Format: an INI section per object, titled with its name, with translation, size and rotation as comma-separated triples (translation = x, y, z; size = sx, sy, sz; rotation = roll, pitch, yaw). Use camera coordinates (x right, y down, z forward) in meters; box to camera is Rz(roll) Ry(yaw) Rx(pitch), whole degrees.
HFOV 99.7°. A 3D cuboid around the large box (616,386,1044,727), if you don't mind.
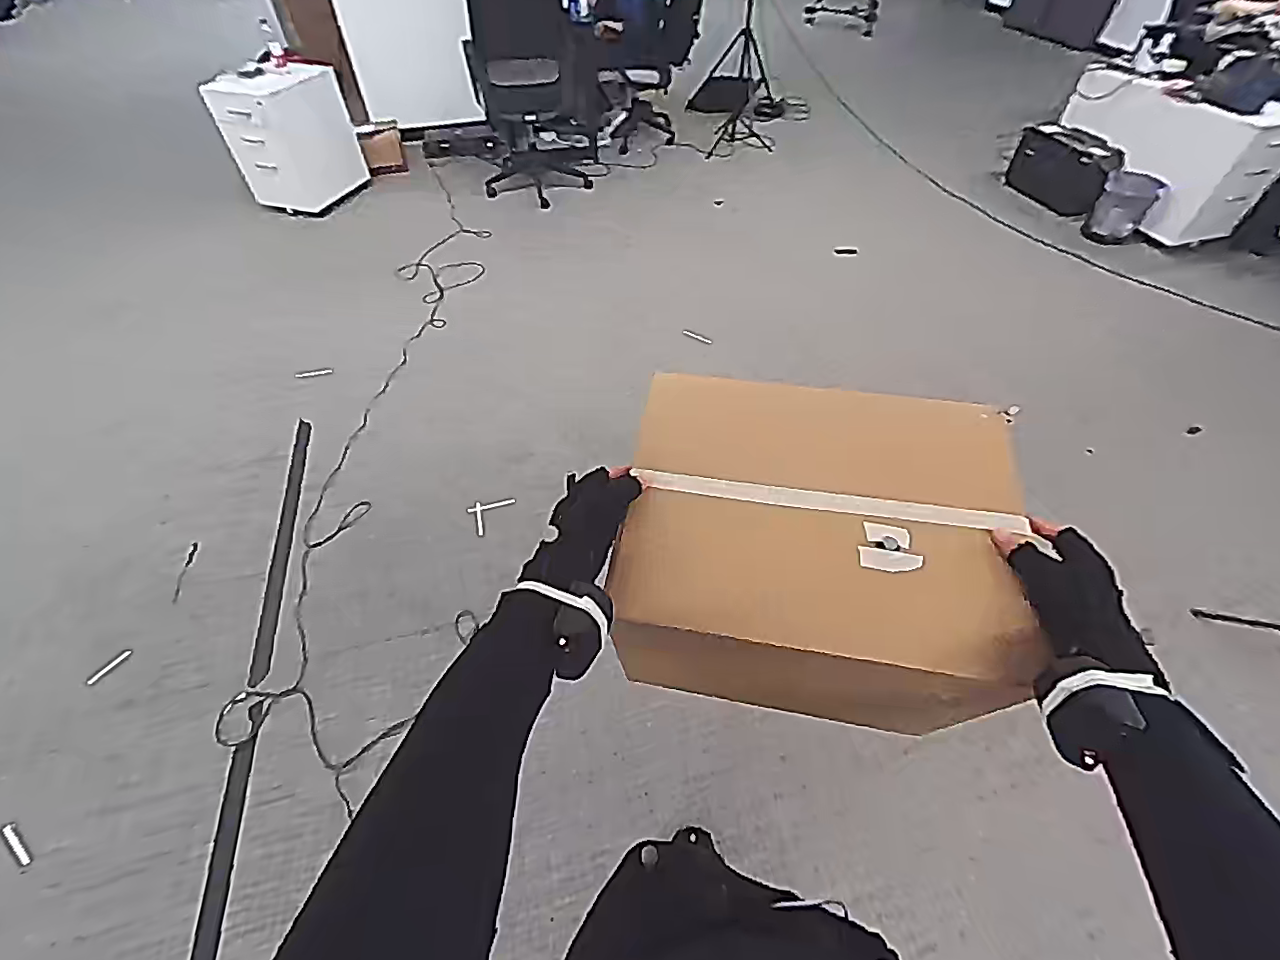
[large box]
translation = 0.202, 0.108, 0.710
size = 0.408, 0.320, 0.320
rotation = 8, 61, 8
